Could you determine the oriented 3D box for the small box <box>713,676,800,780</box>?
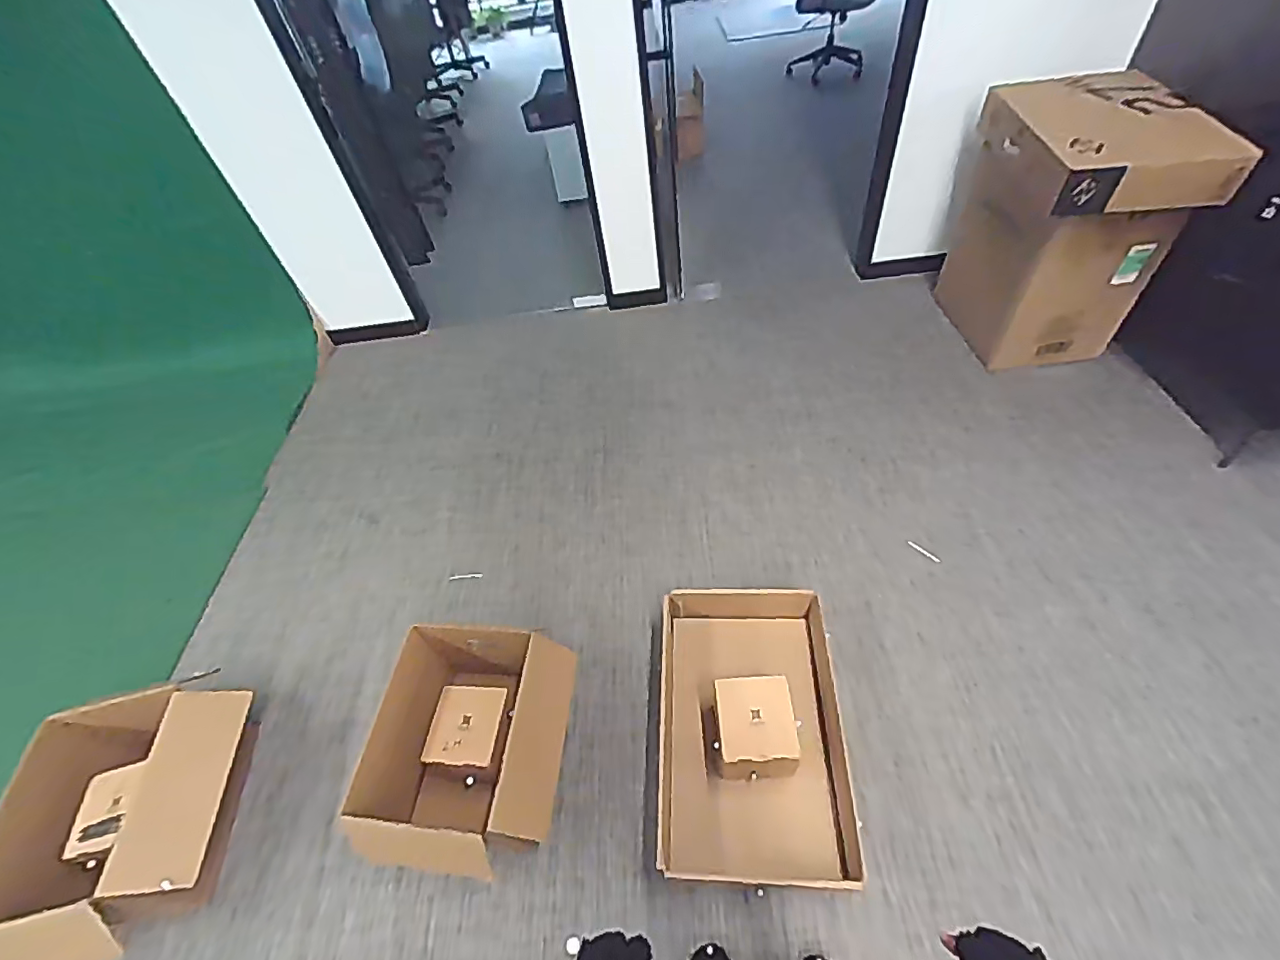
[{"bbox_3d":[0.258,0.570,1.239,0.168,0.176,0.179,-5,50,4],"label":"small box"}]
